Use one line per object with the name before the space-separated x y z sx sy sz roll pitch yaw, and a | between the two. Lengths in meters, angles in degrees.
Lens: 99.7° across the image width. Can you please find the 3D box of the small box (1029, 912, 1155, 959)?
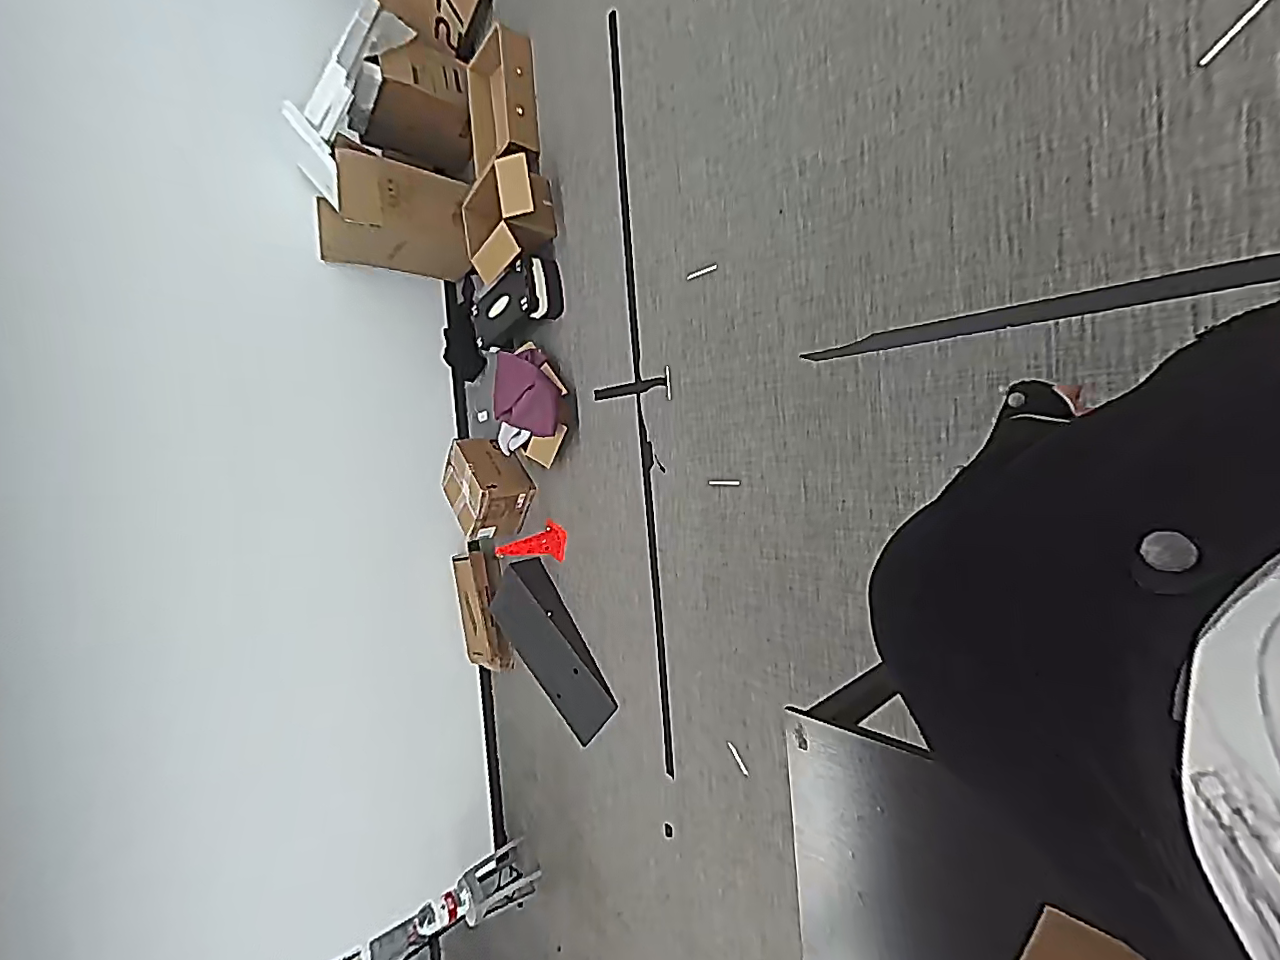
small box | 0.536 0.639 0.596 0.179 0.176 0.168 0 95 52
